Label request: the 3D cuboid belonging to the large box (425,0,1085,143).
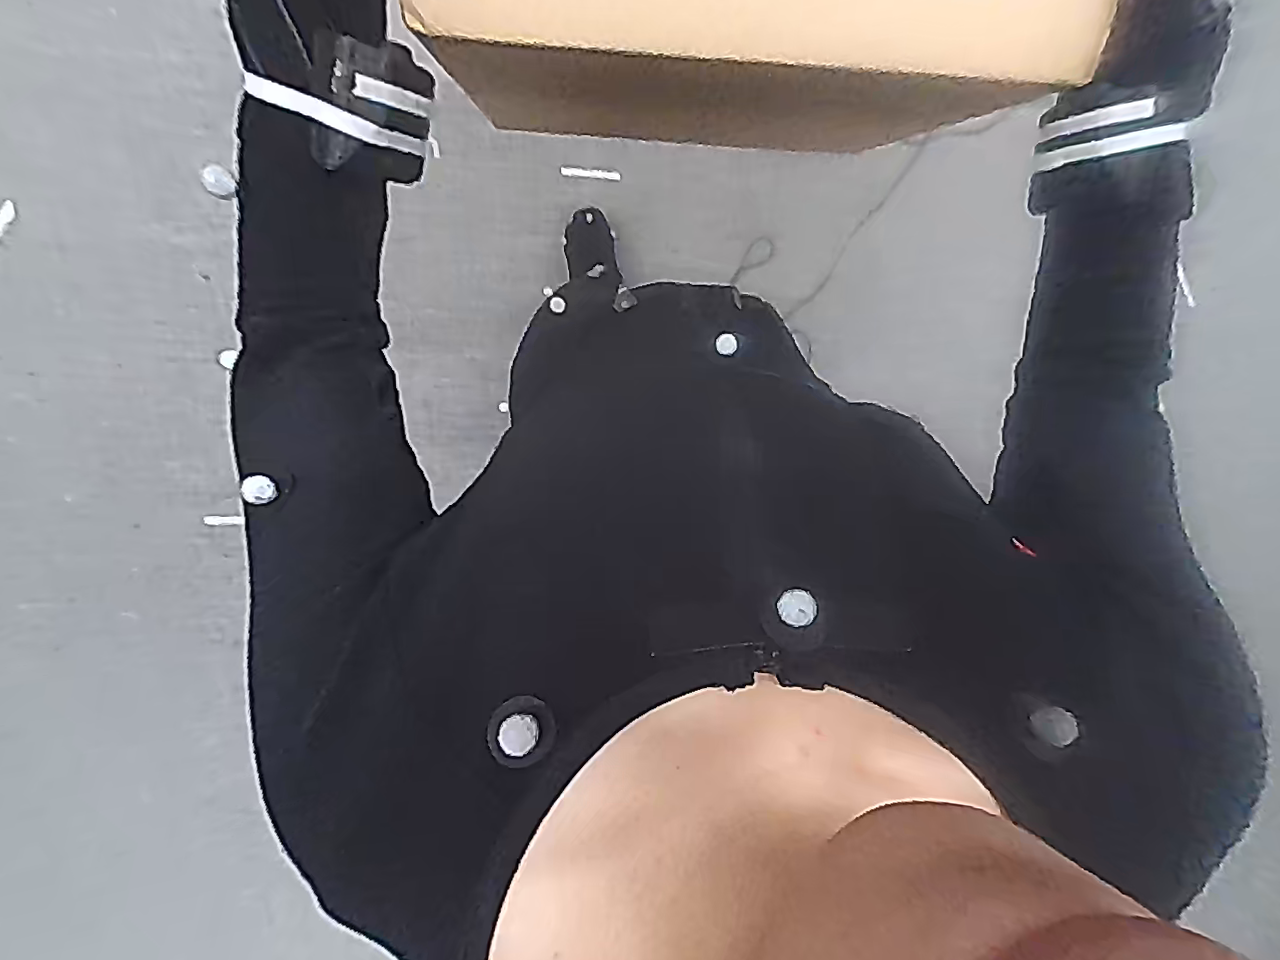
[{"bbox_3d":[0.062,-0.458,0.399,0.408,0.320,0.320,-1,114,-6],"label":"large box"}]
